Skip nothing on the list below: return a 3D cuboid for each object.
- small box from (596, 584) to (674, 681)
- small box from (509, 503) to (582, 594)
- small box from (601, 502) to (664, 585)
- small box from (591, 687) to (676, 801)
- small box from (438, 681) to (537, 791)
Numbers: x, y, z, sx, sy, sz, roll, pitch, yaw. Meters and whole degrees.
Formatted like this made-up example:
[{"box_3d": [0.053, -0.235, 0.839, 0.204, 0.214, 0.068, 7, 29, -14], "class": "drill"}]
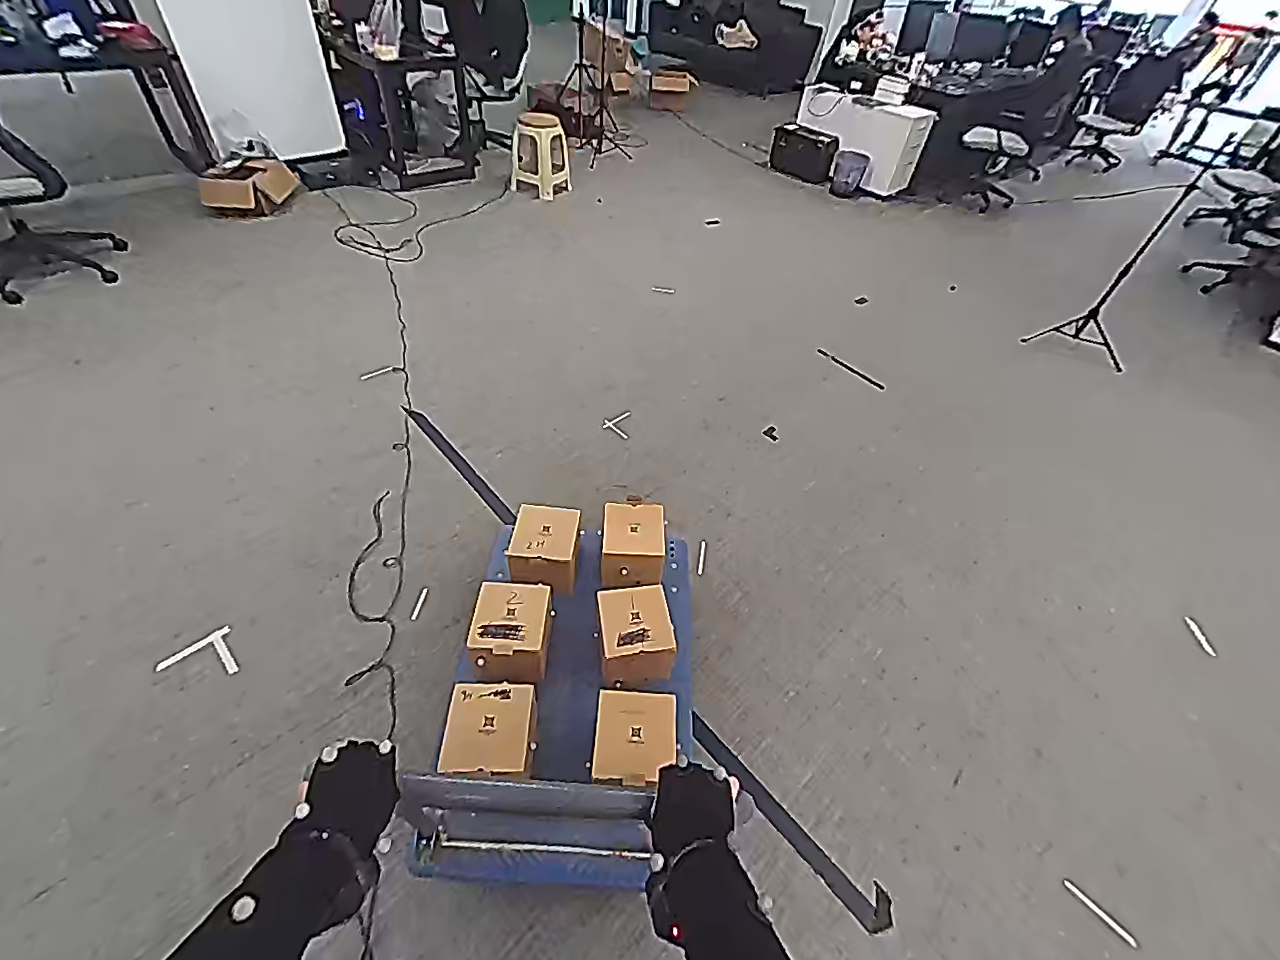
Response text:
[{"box_3d": [-0.018, 0.381, 1.337, 0.168, 0.176, 0.179, -4, 46, -10], "class": "small box"}, {"box_3d": [-0.256, 0.190, 1.491, 0.168, 0.176, 0.179, 6, 47, 0], "class": "small box"}, {"box_3d": [-0.023, 0.185, 1.525, 0.168, 0.176, 0.179, 3, 46, -4], "class": "small box"}, {"box_3d": [-0.015, 0.569, 1.159, 0.168, 0.176, 0.179, 6, 46, -2], "class": "small box"}, {"box_3d": [-0.312, 0.545, 1.145, 0.168, 0.176, 0.179, 3, 46, -5], "class": "small box"}]
